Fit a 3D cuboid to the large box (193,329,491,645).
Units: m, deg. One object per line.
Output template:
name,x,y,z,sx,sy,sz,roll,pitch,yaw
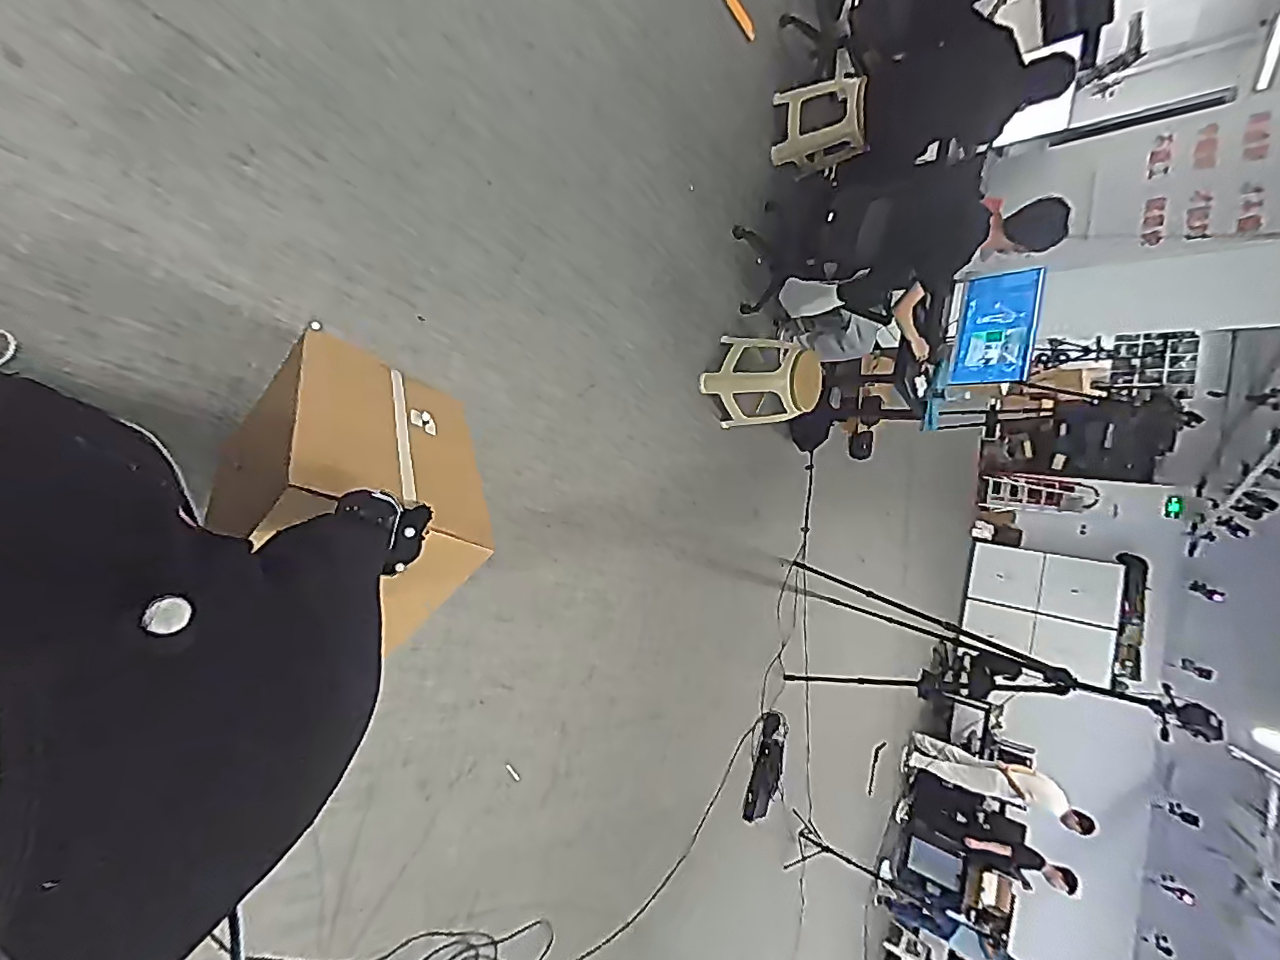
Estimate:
large box,-0.510,0.023,0.947,0.320,0.408,0.320,-43,137,17
